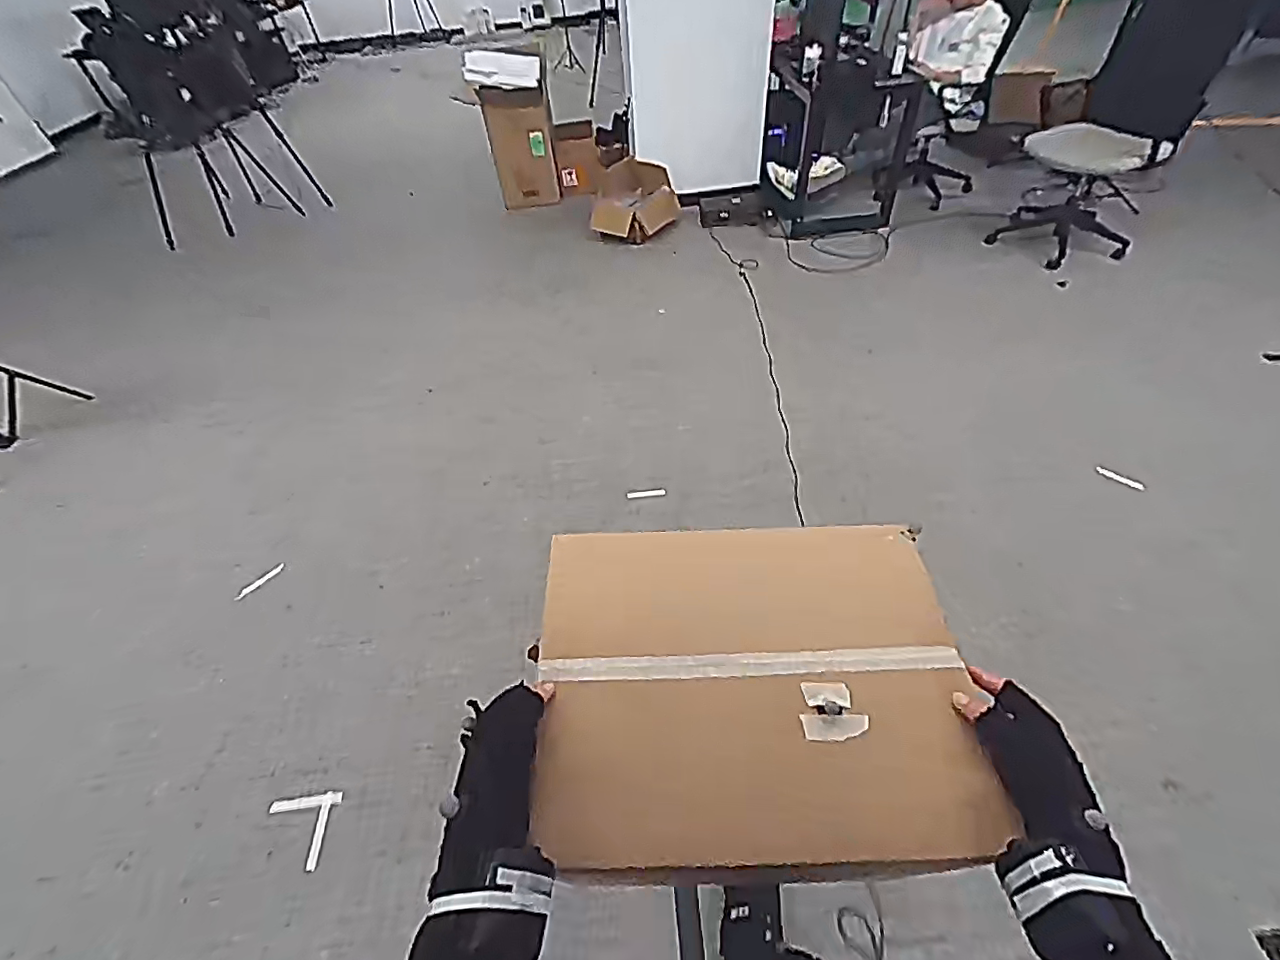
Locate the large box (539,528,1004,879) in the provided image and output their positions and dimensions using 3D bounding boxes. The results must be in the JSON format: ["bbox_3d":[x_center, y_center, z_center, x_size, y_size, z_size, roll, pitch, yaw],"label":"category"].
[{"bbox_3d":[0.106,0.278,0.660,0.408,0.320,0.320,-2,52,0],"label":"large box"}]
